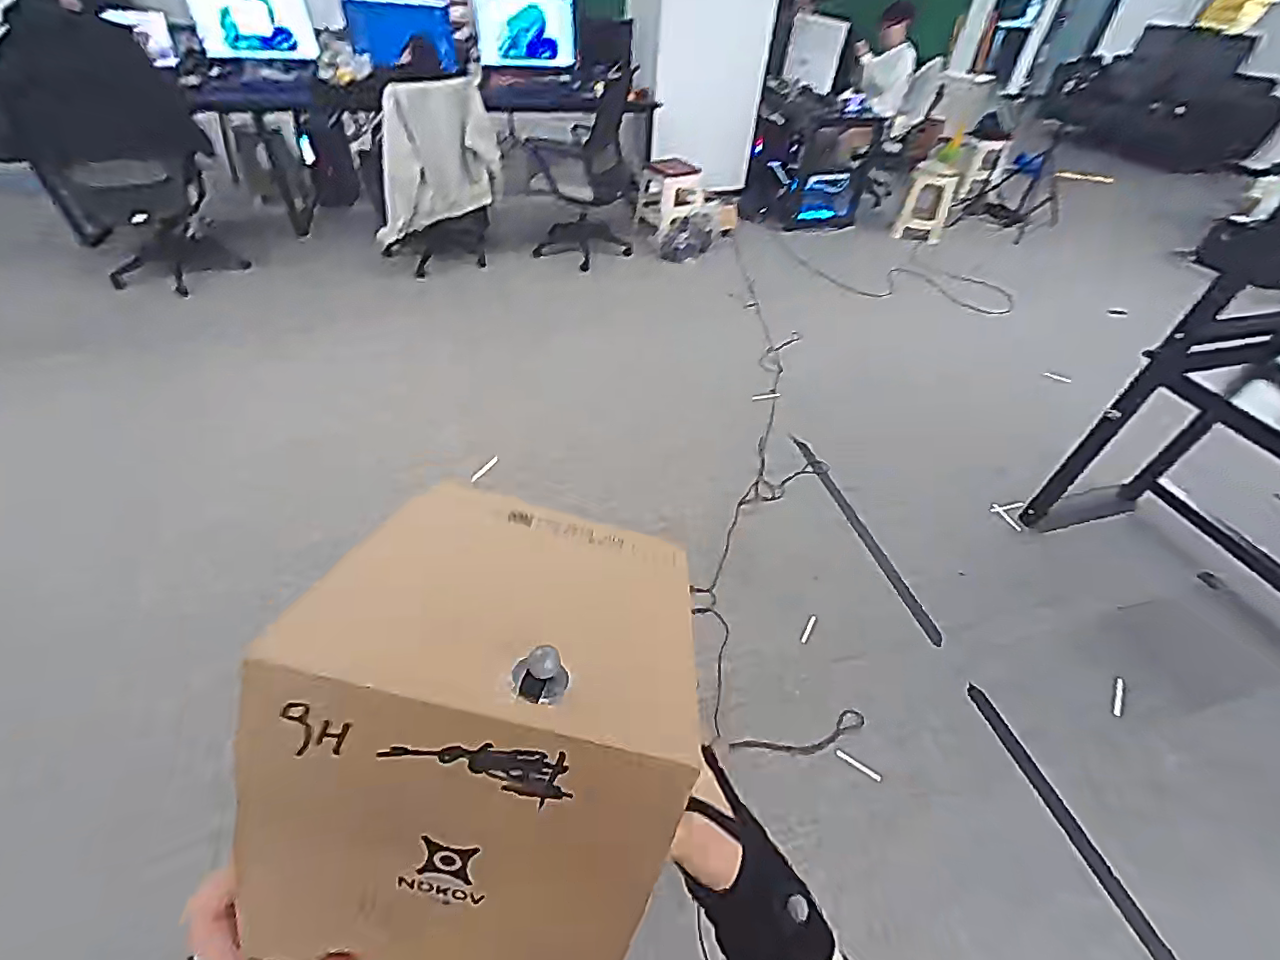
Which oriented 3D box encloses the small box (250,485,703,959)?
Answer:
[{"bbox_3d":[-0.071,0.126,0.295,0.168,0.179,0.176,15,20,-3],"label":"small box"}]
